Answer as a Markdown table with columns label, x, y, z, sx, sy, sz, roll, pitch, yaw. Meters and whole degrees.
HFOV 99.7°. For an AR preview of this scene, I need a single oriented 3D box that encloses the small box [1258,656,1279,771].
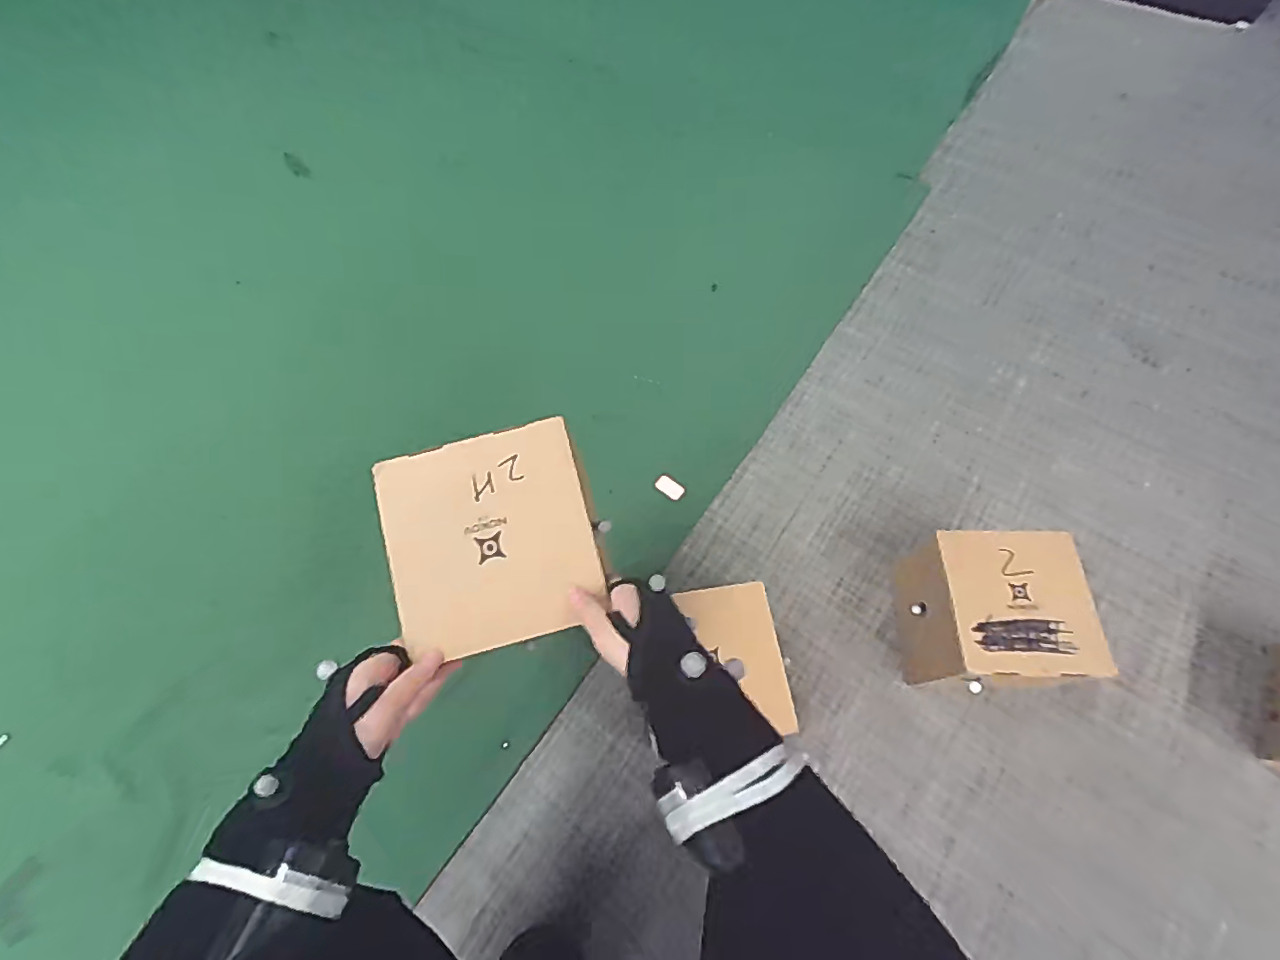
| label | x | y | z | sx | sy | sz | roll | pitch | yaw |
| --- | --- | --- | --- | --- | --- | --- | --- | --- | --- |
| small box | 0.908 | 0.302 | 0.640 | 0.179 | 0.176 | 0.168 | 24 | 69 | 15 |

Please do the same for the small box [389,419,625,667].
| label | x | y | z | sx | sy | sz | roll | pitch | yaw |
| --- | --- | --- | --- | --- | --- | --- | --- | --- | --- |
| small box | -0.113 | 0.062 | 0.524 | 0.168 | 0.176 | 0.179 | -15 | 78 | -3 |
